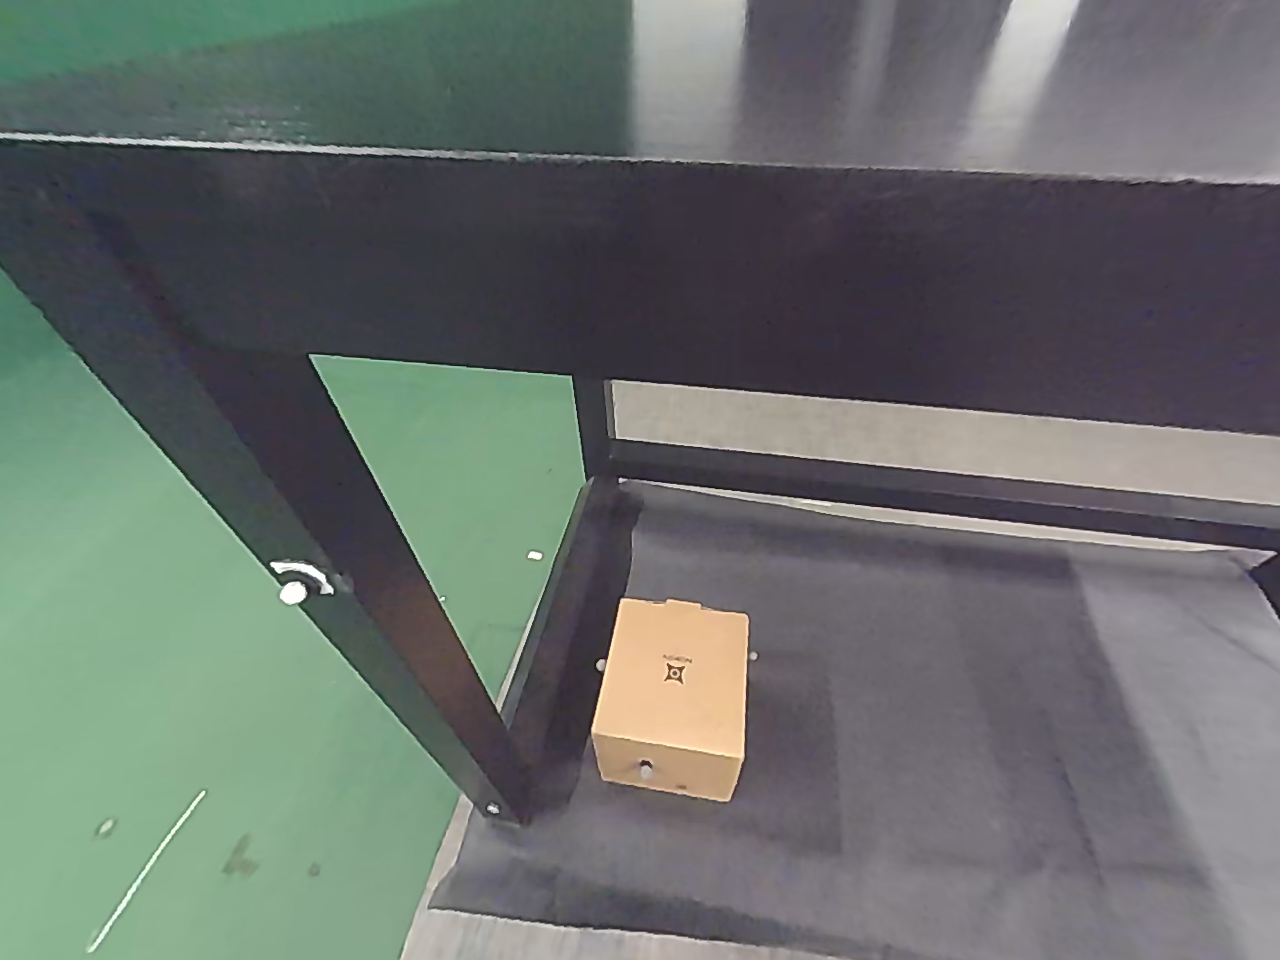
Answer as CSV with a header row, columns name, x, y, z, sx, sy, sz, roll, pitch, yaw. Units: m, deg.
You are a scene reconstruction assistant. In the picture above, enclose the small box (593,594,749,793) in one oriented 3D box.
name,x,y,z,sx,sy,sz,roll,pitch,yaw
small box,0.045,0.272,0.686,0.168,0.176,0.179,5,45,8
